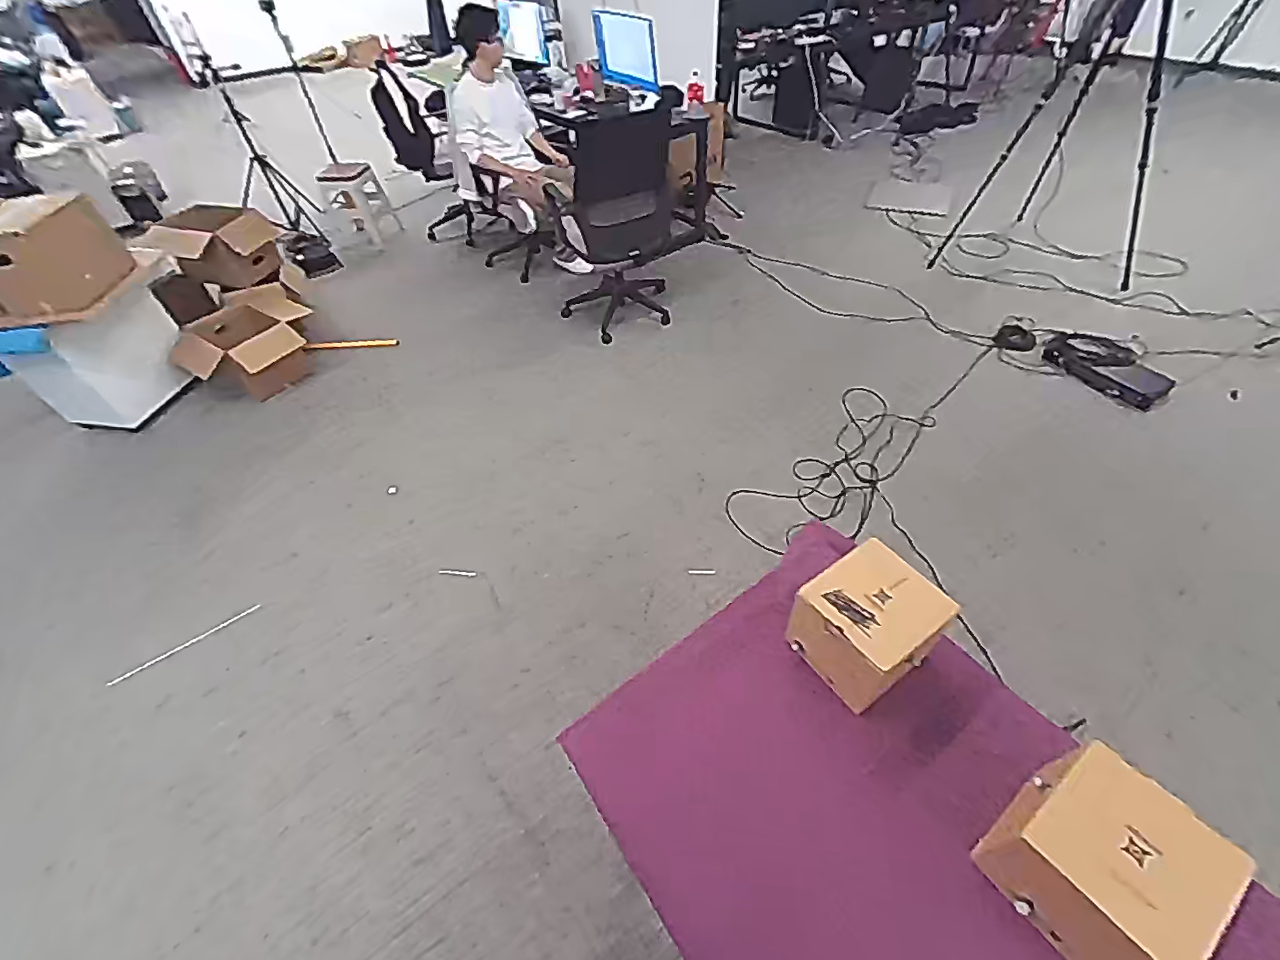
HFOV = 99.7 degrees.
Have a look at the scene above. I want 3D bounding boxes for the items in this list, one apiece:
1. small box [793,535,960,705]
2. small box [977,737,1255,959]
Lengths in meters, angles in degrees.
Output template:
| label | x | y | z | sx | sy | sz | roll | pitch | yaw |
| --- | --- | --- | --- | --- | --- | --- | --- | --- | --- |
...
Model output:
| label | x | y | z | sx | sy | sz | roll | pitch | yaw |
| --- | --- | --- | --- | --- | --- | --- | --- | --- | --- |
| small box | 0.369 | 0.230 | 0.878 | 0.179 | 0.176 | 0.168 | -29 | 52 | -19 |
| small box | 0.555 | 0.458 | 0.658 | 0.179 | 0.176 | 0.168 | -30 | 51 | -21 |
